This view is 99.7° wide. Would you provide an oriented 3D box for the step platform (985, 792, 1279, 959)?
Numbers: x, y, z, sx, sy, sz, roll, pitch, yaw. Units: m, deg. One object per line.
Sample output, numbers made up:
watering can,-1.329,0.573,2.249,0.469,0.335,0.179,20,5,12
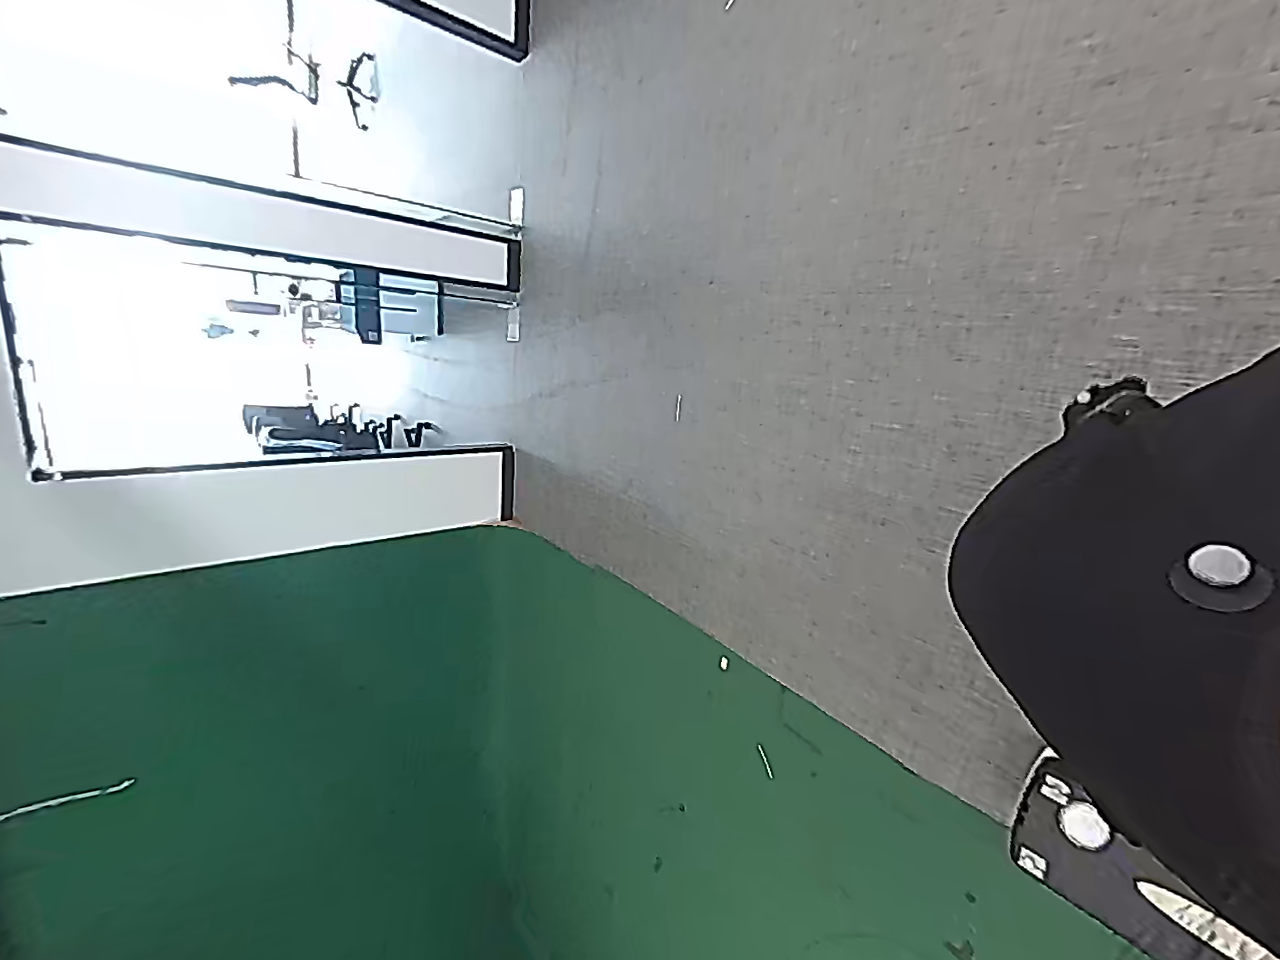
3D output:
step platform,0.986,0.854,0.881,0.684,0.204,0.286,20,110,46
